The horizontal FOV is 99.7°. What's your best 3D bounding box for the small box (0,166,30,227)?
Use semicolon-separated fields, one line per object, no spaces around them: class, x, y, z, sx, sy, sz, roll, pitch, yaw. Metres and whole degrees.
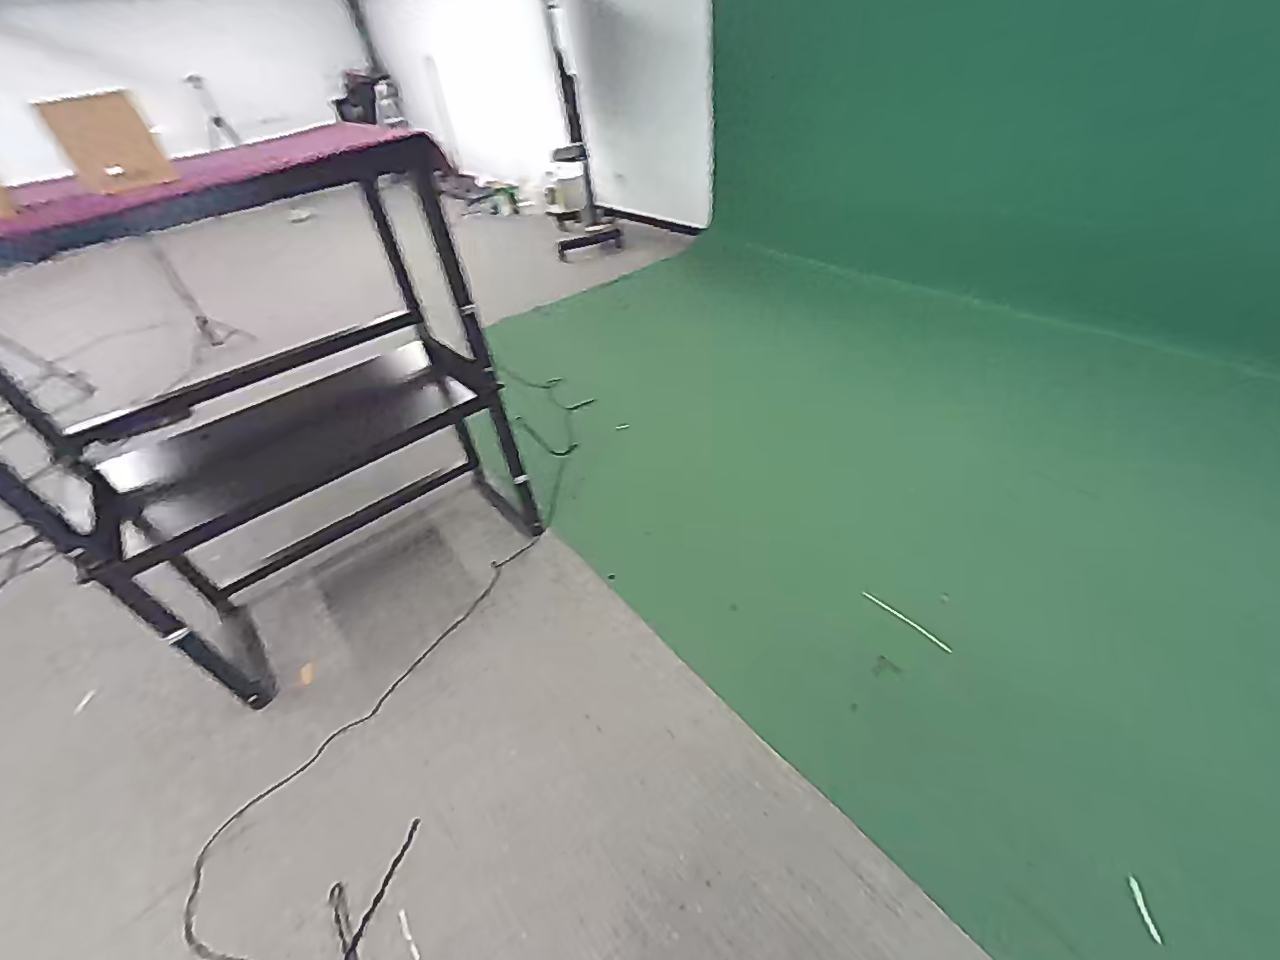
small box;-1.321;-0.569;1.021;0.168;0.176;0.179;-33;46;-27

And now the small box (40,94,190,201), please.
small box;-1.112;-0.714;1.162;0.168;0.176;0.179;-31;45;-23
